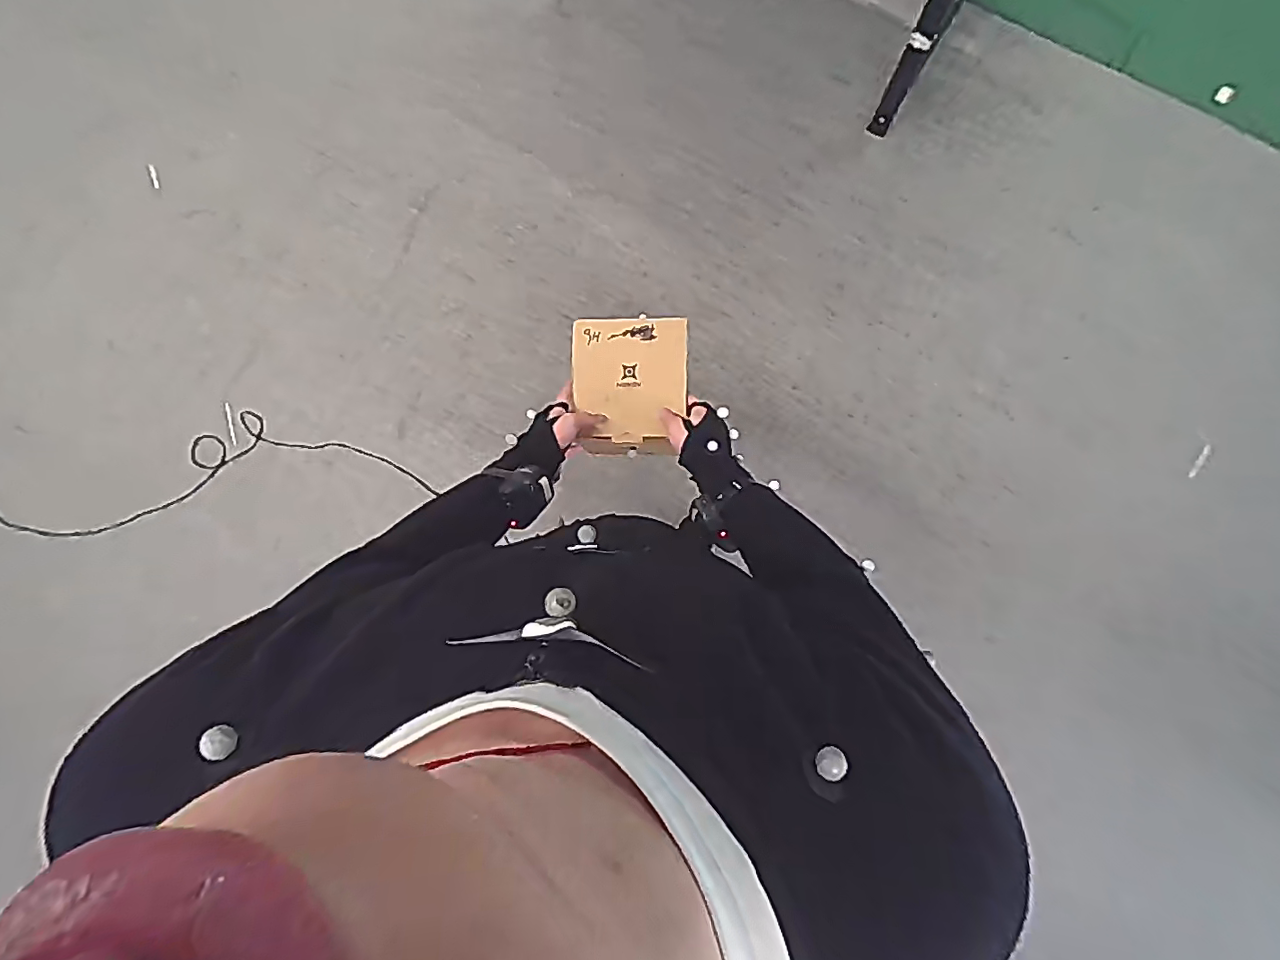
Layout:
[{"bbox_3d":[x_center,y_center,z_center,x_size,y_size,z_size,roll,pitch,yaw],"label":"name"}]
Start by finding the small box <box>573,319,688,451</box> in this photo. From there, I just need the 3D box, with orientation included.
[{"bbox_3d":[-0.008,-0.140,0.865,0.168,0.176,0.179,-3,86,4],"label":"small box"}]
